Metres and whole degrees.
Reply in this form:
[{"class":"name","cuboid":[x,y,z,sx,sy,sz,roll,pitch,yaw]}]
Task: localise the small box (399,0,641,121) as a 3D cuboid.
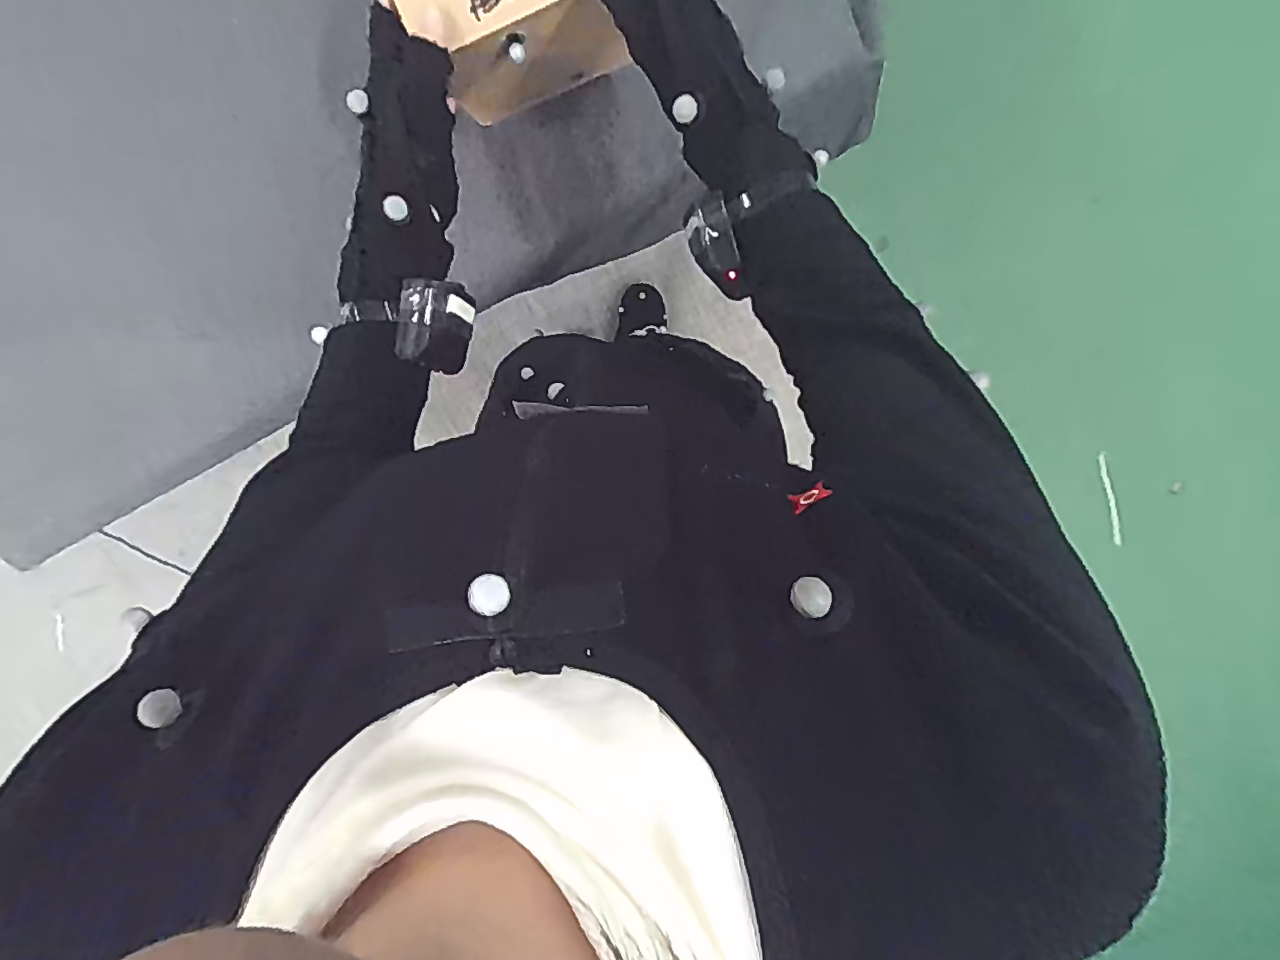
[{"class":"small box","cuboid":[-0.105,-0.421,0.418,0.168,0.176,0.179,-19,109,7]}]
